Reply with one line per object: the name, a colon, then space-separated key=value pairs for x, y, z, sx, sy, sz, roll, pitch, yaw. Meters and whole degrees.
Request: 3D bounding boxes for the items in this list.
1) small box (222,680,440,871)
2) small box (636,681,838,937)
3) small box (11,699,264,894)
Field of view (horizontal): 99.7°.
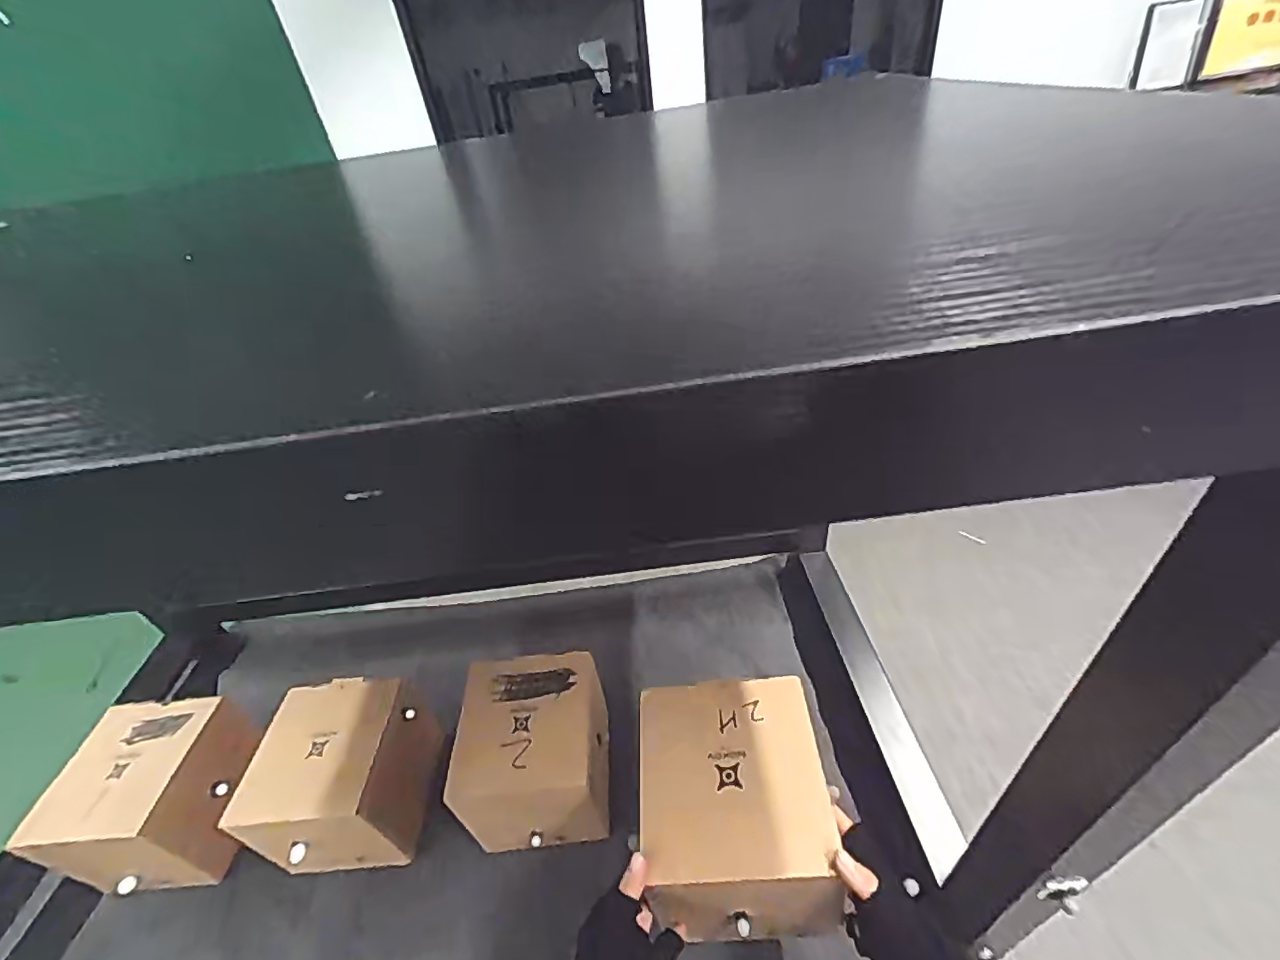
small box: x=-0.391 y=0.399 z=0.727 sx=0.168 sy=0.176 sz=0.179 roll=-7 pitch=37 yaw=3
small box: x=0.091 y=0.331 z=0.542 sx=0.168 sy=0.176 sz=0.179 roll=-7 pitch=36 yaw=6
small box: x=-0.642 y=0.428 z=0.735 sx=0.168 sy=0.176 sz=0.179 roll=-7 pitch=38 yaw=3
